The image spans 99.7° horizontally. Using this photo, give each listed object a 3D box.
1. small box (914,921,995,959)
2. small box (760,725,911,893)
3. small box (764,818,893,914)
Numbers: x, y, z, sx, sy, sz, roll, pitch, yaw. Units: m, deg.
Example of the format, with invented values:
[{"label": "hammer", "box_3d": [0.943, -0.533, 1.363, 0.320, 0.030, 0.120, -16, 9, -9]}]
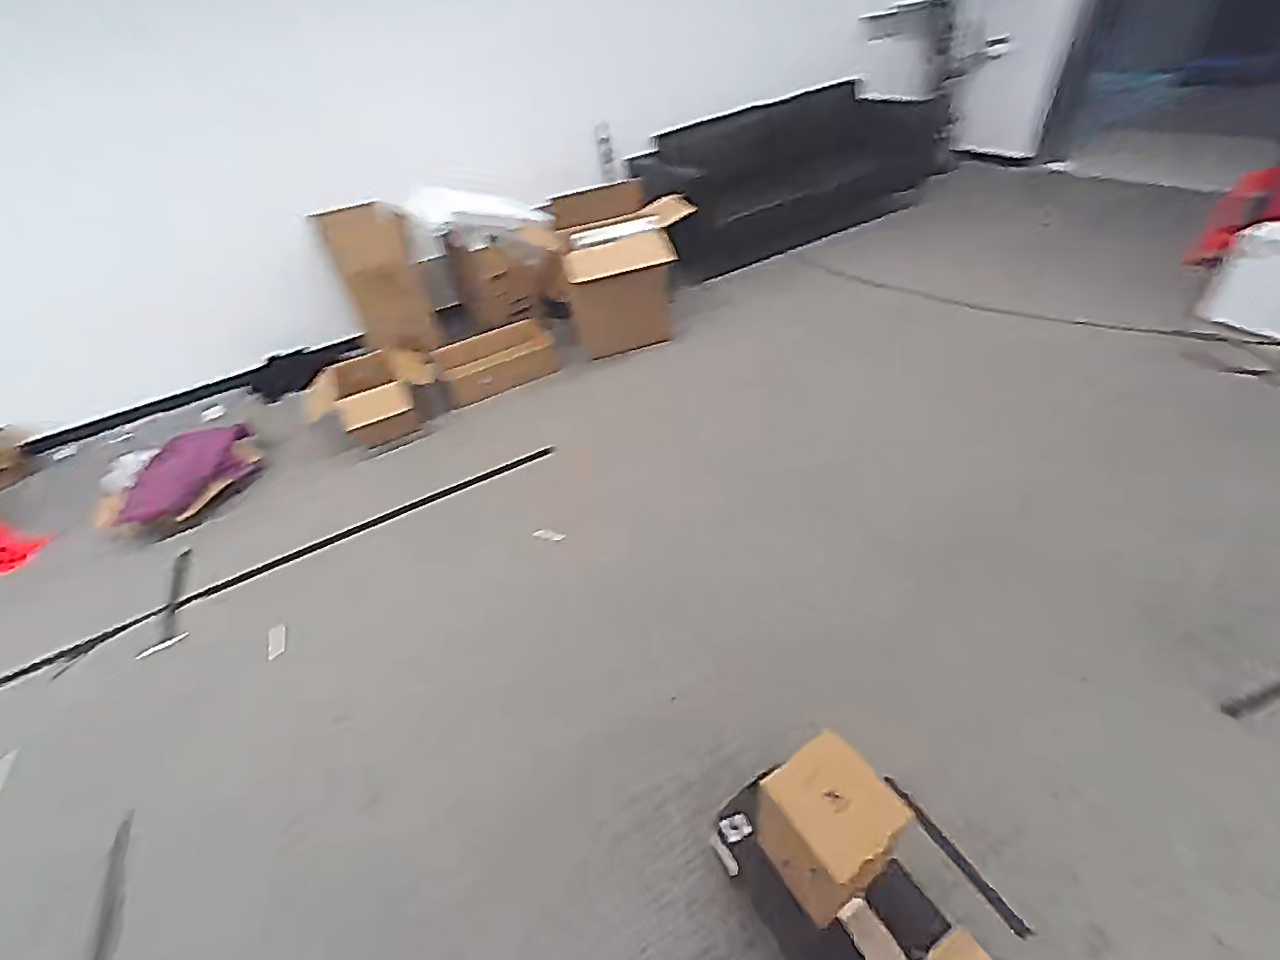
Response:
[{"label": "small box", "box_3d": [0.495, 0.848, 0.844, 0.179, 0.176, 0.168, -26, 42, -18]}, {"label": "small box", "box_3d": [0.327, 0.574, 0.938, 0.168, 0.176, 0.179, -27, 44, -20]}, {"label": "small box", "box_3d": [0.349, 0.696, 1.046, 0.168, 0.176, 0.179, -27, 44, -18]}]
